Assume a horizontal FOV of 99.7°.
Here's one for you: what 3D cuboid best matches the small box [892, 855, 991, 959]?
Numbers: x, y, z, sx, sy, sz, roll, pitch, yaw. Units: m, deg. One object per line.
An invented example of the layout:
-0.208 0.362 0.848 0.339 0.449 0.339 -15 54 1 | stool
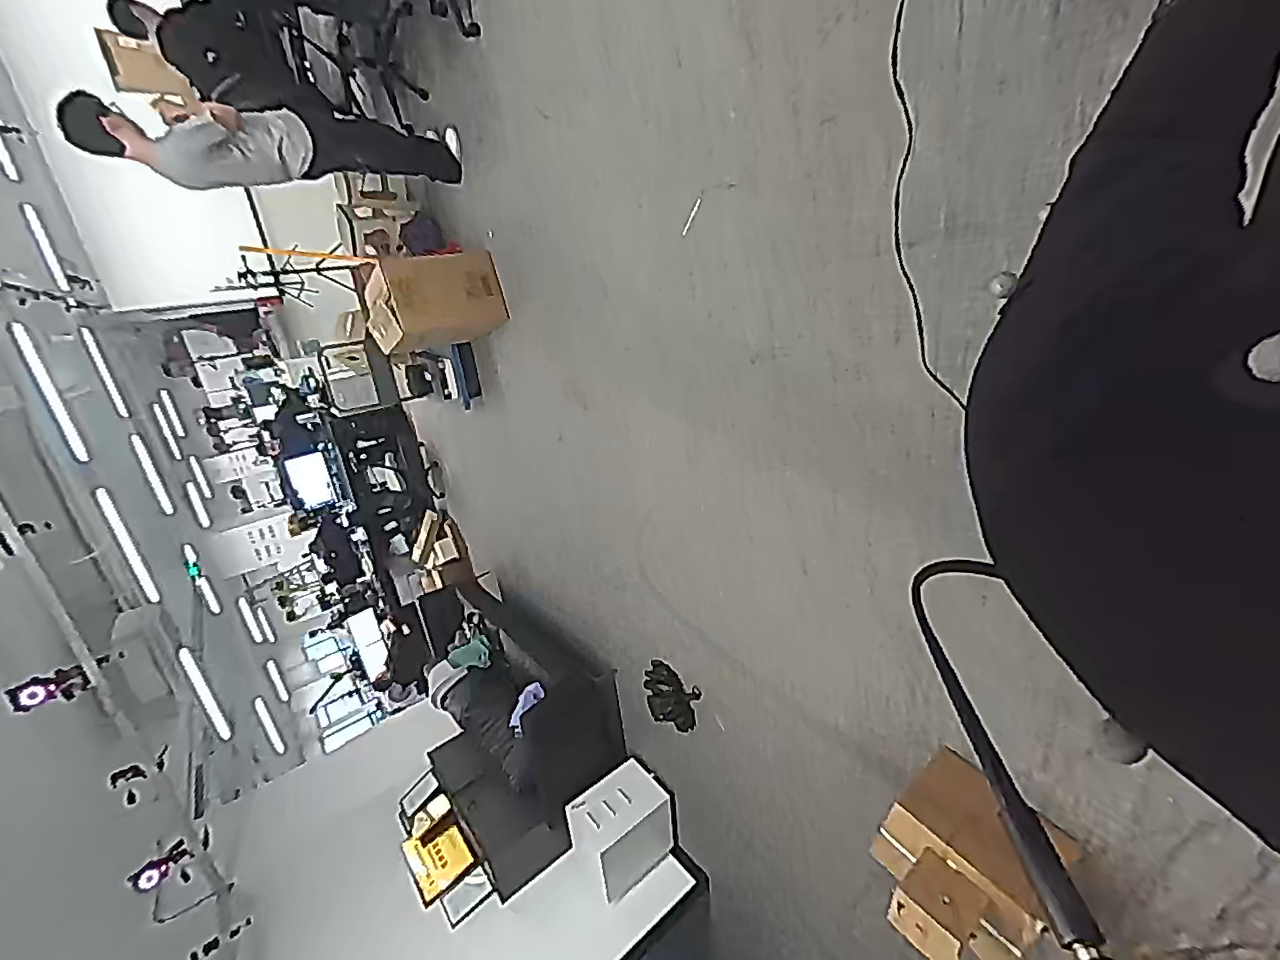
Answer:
0.833 1.196 1.493 0.179 0.176 0.168 27 128 45 | small box
